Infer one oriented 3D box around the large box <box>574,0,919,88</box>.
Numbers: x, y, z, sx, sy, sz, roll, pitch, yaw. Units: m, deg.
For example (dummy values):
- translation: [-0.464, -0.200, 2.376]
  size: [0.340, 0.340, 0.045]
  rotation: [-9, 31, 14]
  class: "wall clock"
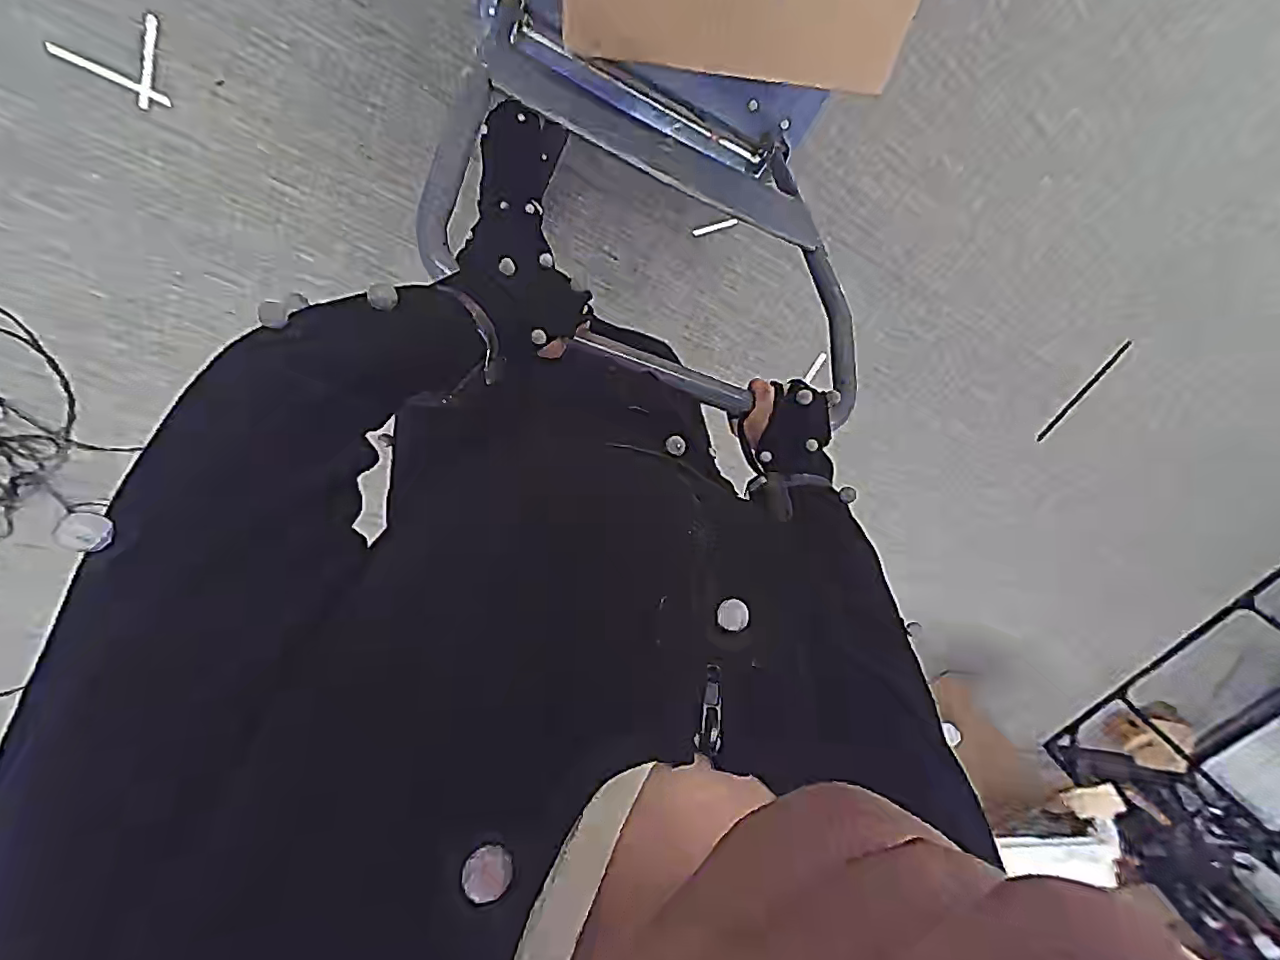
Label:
- translation: [0.124, -0.717, 0.645]
  size: [0.408, 0.320, 0.320]
  rotation: [2, 141, -9]
  class: "large box"
